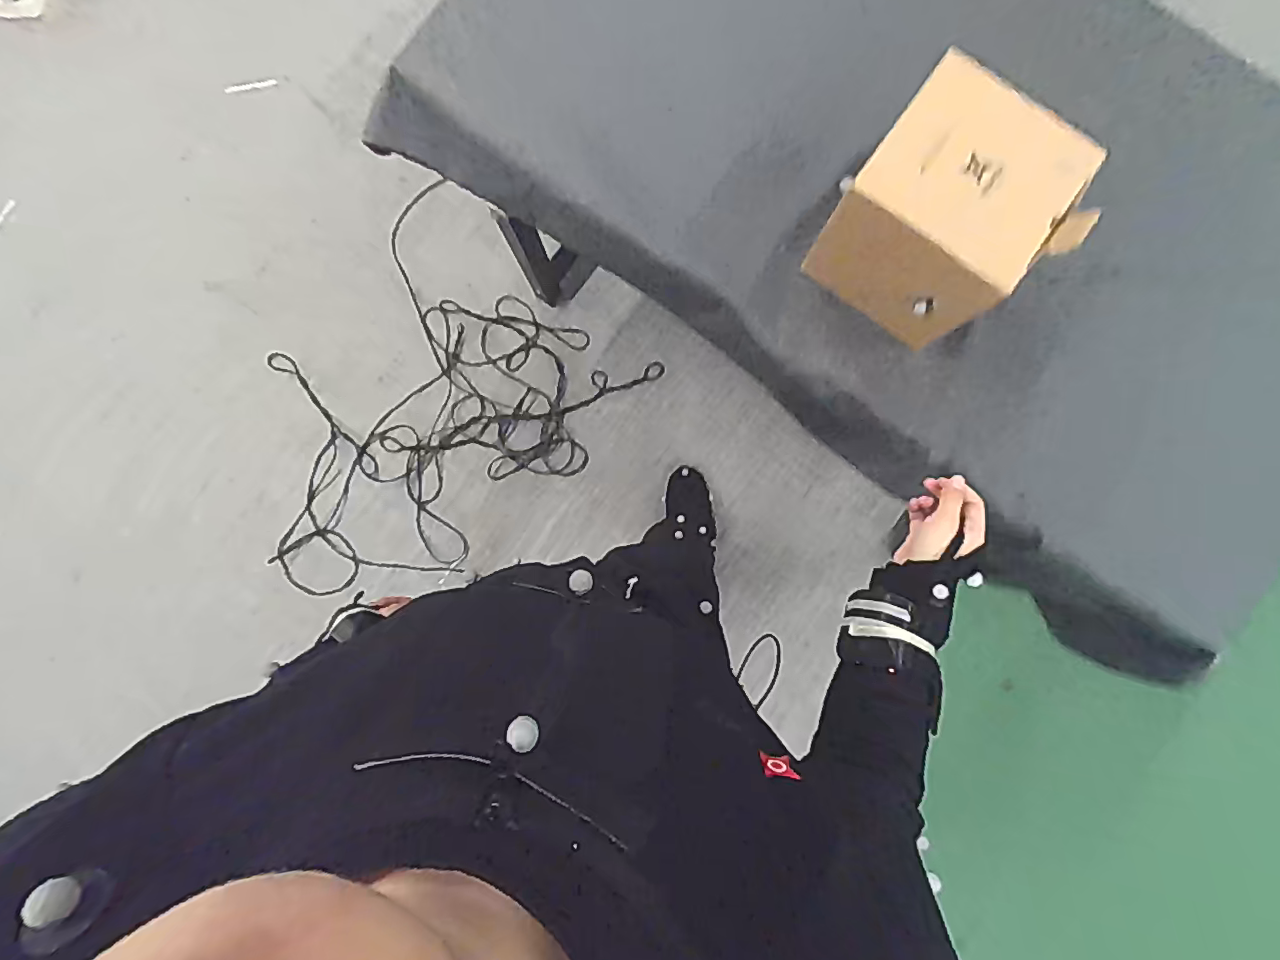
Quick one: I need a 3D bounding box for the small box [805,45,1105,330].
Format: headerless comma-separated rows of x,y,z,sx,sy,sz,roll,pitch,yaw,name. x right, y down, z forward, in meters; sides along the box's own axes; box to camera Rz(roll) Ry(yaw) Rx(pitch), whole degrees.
0.308,-0.283,0.570,0.179,0.176,0.168,36,86,3,small box
